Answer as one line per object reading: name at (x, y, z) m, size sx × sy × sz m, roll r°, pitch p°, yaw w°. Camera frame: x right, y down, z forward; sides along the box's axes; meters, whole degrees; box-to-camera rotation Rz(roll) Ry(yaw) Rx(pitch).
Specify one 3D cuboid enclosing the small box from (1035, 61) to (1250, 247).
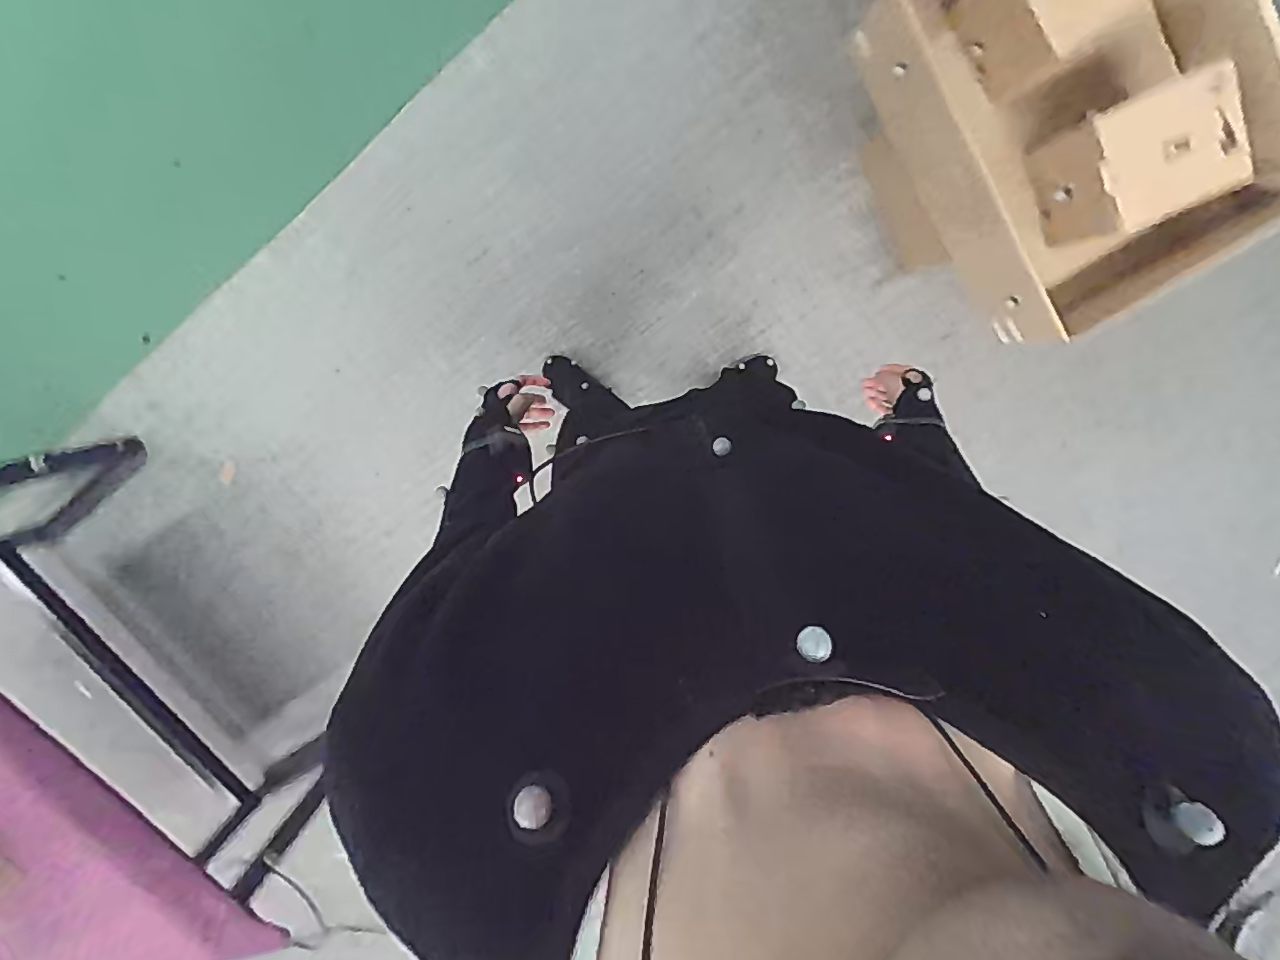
small box at (0.748, -0.478, 0.828) m, size 0.179 × 0.176 × 0.168 m, roll -21°, pitch 103°, yaw 10°
